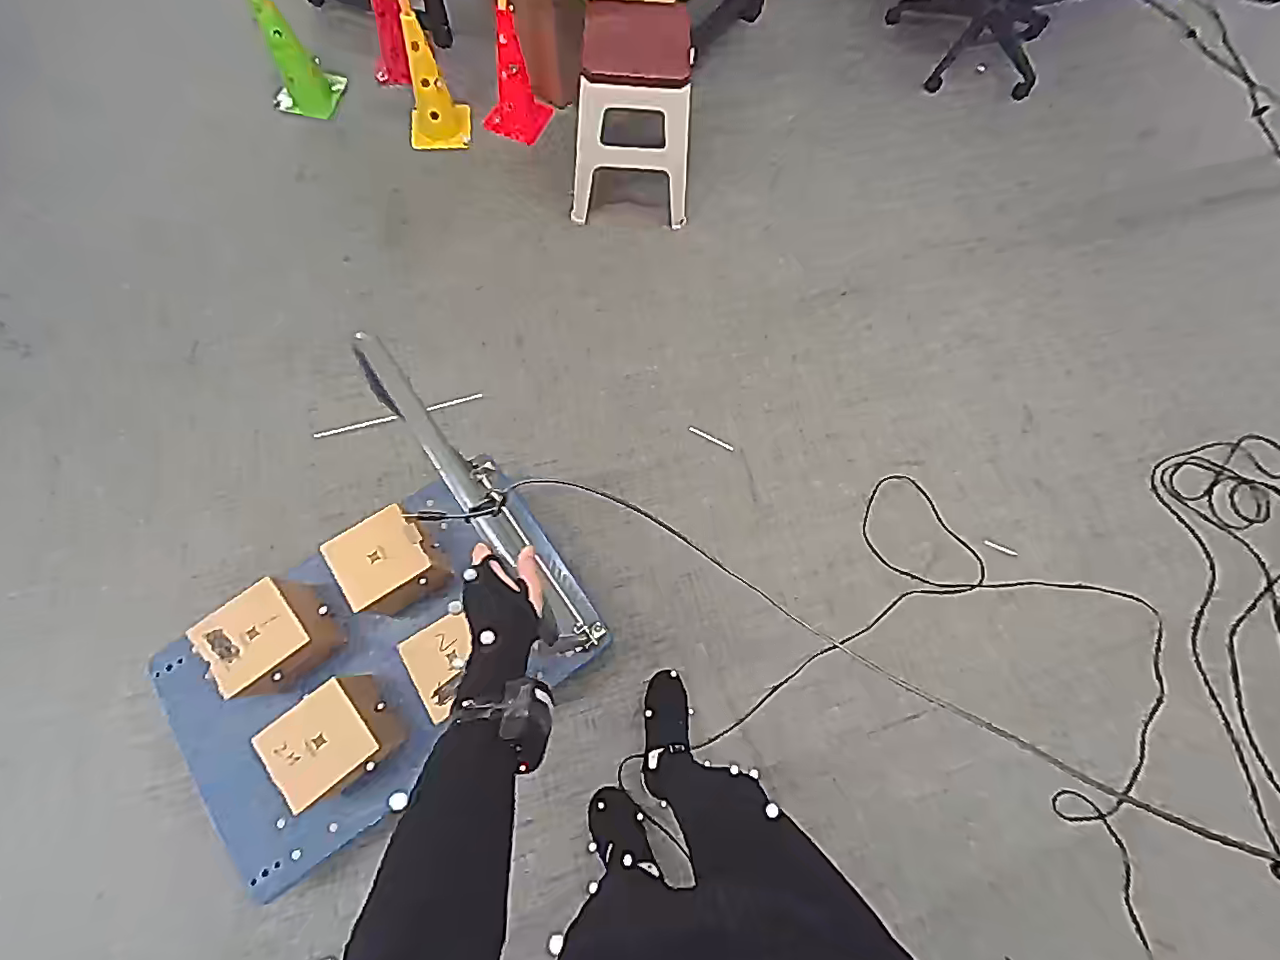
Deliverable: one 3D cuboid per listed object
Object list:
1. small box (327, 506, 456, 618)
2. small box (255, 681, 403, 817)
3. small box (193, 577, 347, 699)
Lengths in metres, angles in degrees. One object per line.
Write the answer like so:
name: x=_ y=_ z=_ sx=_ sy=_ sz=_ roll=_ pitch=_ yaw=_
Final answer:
small box: x=-0.538 y=0.188 z=1.191 sx=0.179 sy=0.176 sz=0.168 roll=-32 pitch=76 yaw=-12
small box: x=-0.602 y=0.519 z=1.077 sx=0.179 sy=0.176 sz=0.168 roll=-36 pitch=76 yaw=-14
small box: x=-0.760 y=0.331 z=1.130 sx=0.179 sy=0.176 sz=0.168 roll=-36 pitch=78 yaw=-14
